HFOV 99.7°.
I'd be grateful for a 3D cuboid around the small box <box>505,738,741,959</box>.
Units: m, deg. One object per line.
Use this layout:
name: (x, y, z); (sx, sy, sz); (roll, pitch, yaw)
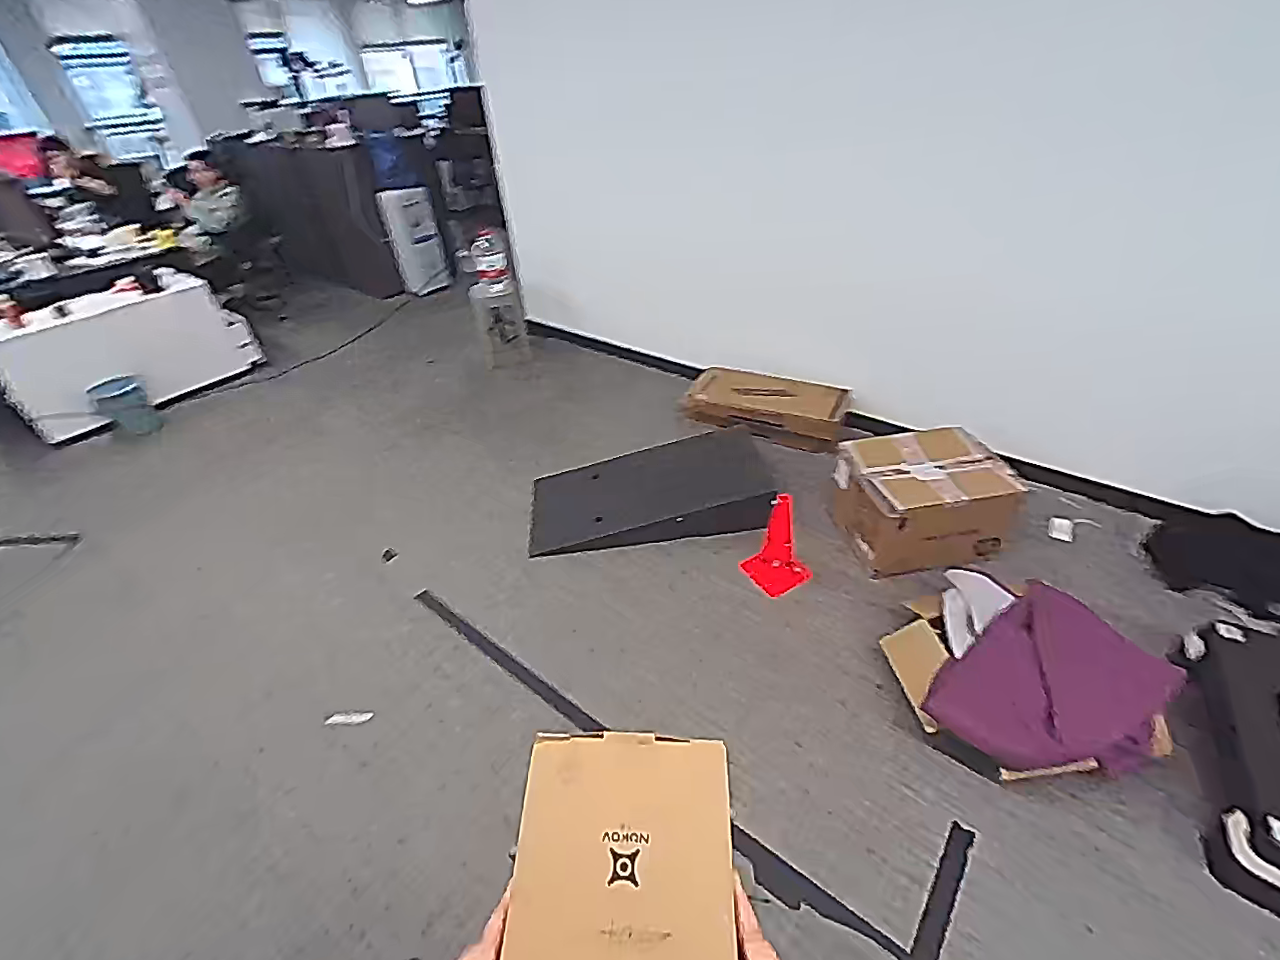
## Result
small box: (-0.011, 0.339, 0.467); (0.168, 0.176, 0.179); (1, 52, 1)
